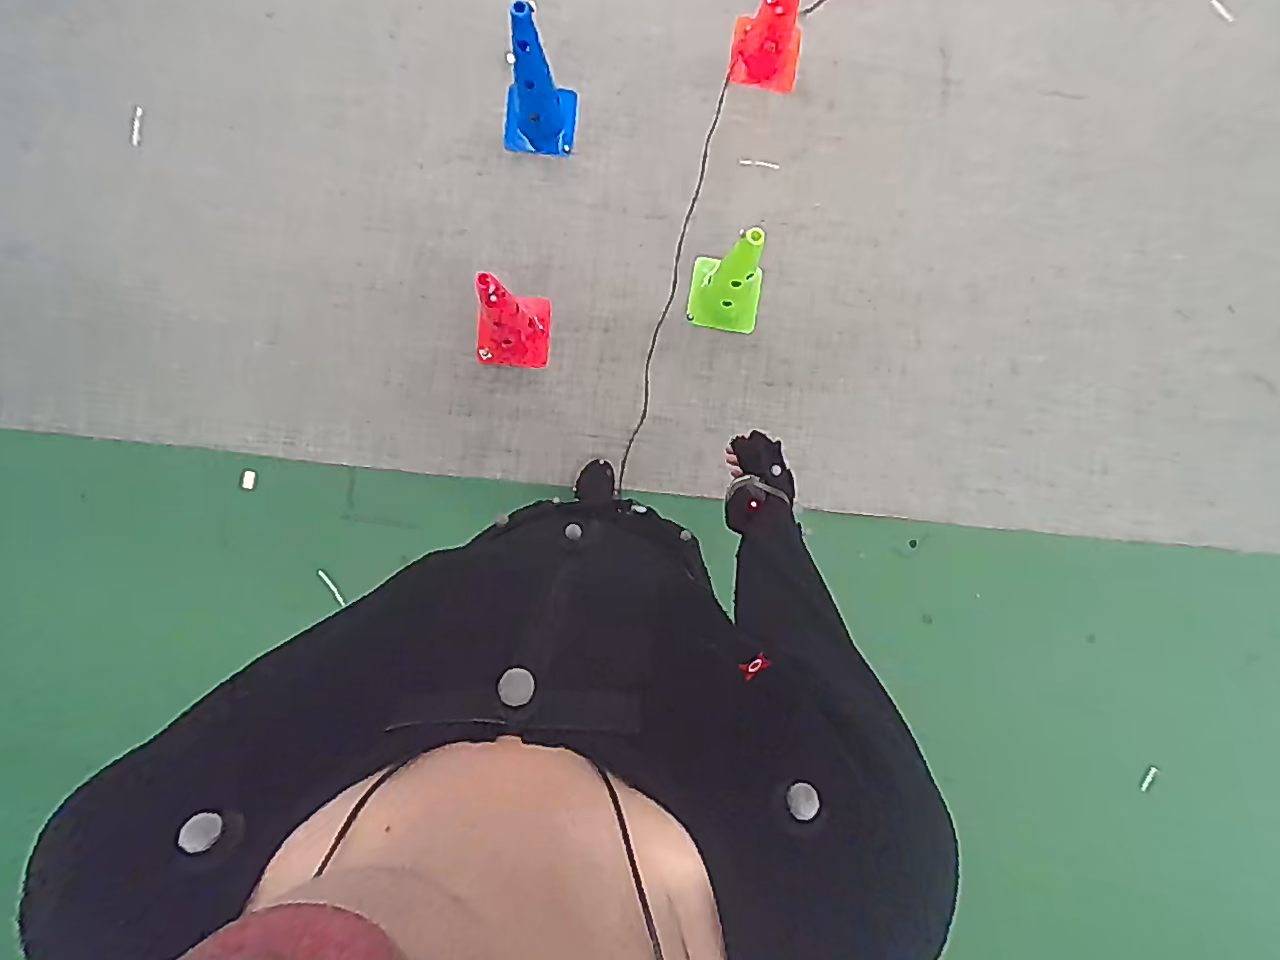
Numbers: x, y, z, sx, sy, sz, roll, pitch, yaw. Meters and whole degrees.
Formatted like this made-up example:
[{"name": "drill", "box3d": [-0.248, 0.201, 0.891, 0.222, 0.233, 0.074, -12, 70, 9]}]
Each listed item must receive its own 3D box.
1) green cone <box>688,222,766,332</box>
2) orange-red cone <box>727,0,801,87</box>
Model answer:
[{"name": "green cone", "box3d": [0.255, -0.542, 1.380, 0.200, 0.368, 0.202, 8, 87, -3]}, {"name": "orange-red cone", "box3d": [0.369, -1.263, 1.416, 0.198, 0.360, 0.199, 10, 89, -1]}]
